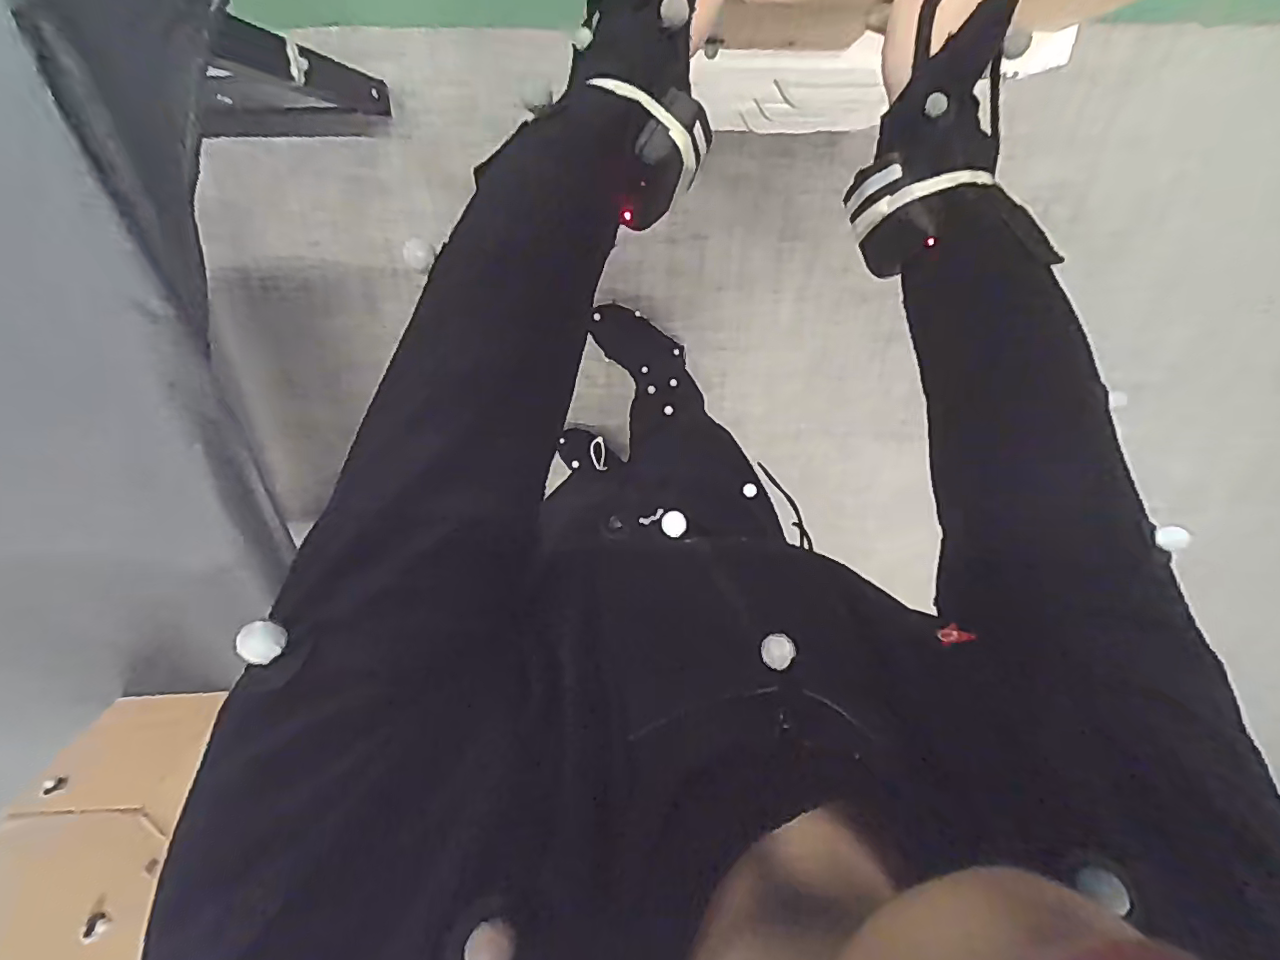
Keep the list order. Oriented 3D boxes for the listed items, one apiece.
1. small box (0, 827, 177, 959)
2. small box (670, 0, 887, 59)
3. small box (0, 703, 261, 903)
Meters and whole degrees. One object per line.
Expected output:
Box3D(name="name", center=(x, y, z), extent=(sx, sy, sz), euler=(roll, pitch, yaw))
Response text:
Box3D(name="small box", center=(-0.630, 0.482, 0.548), extent=(0.179, 0.176, 0.168), euler=(-5, 115, 4))
Box3D(name="small box", center=(0.112, -0.443, 0.401), extent=(0.168, 0.176, 0.179), euler=(-1, 111, -2))
Box3D(name="small box", center=(-0.632, 0.407, 0.693), extent=(0.179, 0.176, 0.168), euler=(-4, 117, 2))
